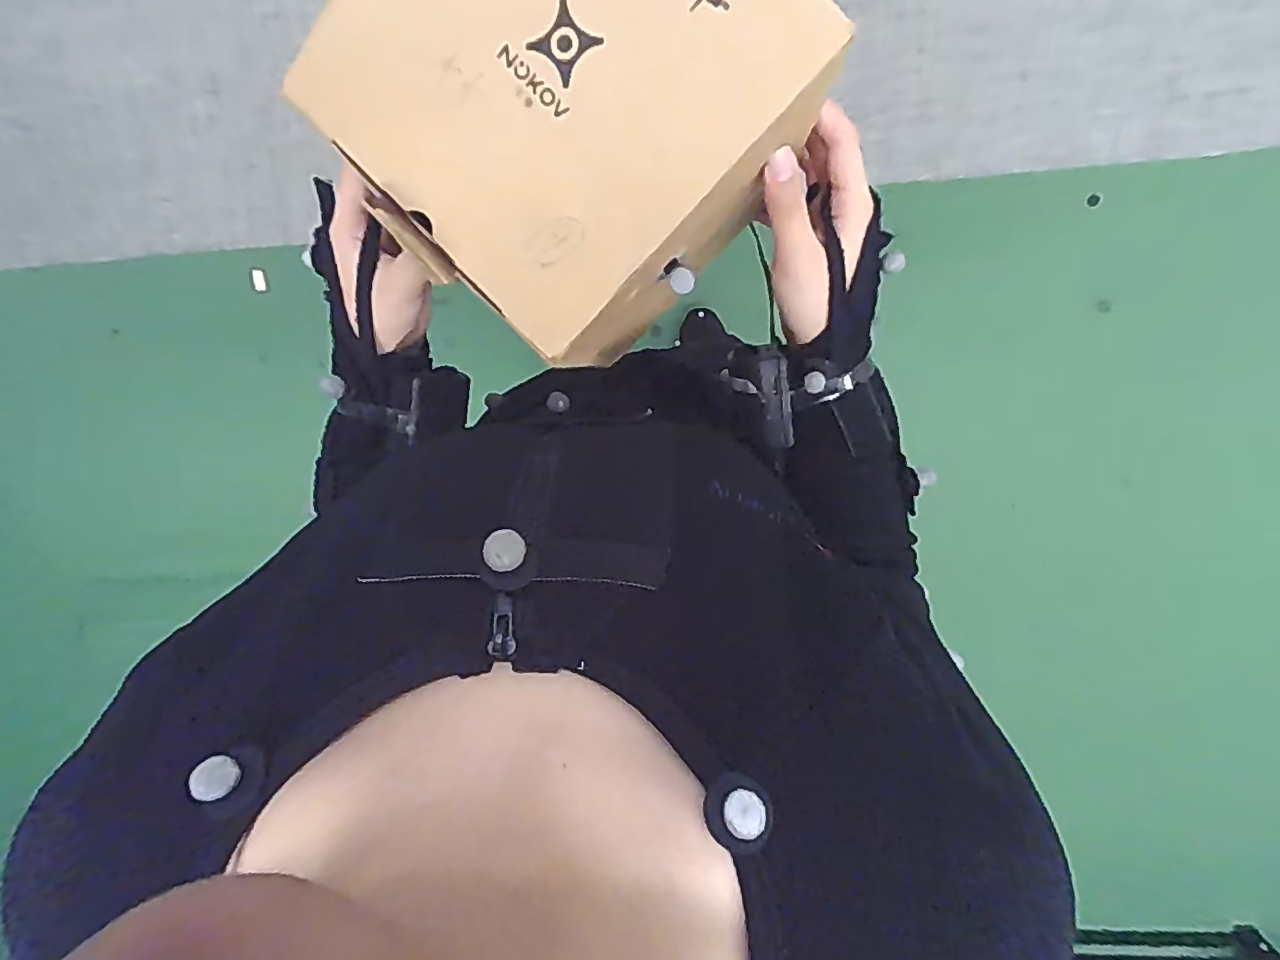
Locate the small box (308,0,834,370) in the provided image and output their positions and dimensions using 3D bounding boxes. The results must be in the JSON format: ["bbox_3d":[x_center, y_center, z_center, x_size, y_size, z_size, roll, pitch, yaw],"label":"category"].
[{"bbox_3d":[-0.026,-0.181,0.306,0.168,0.176,0.179,45,104,-4],"label":"small box"}]
